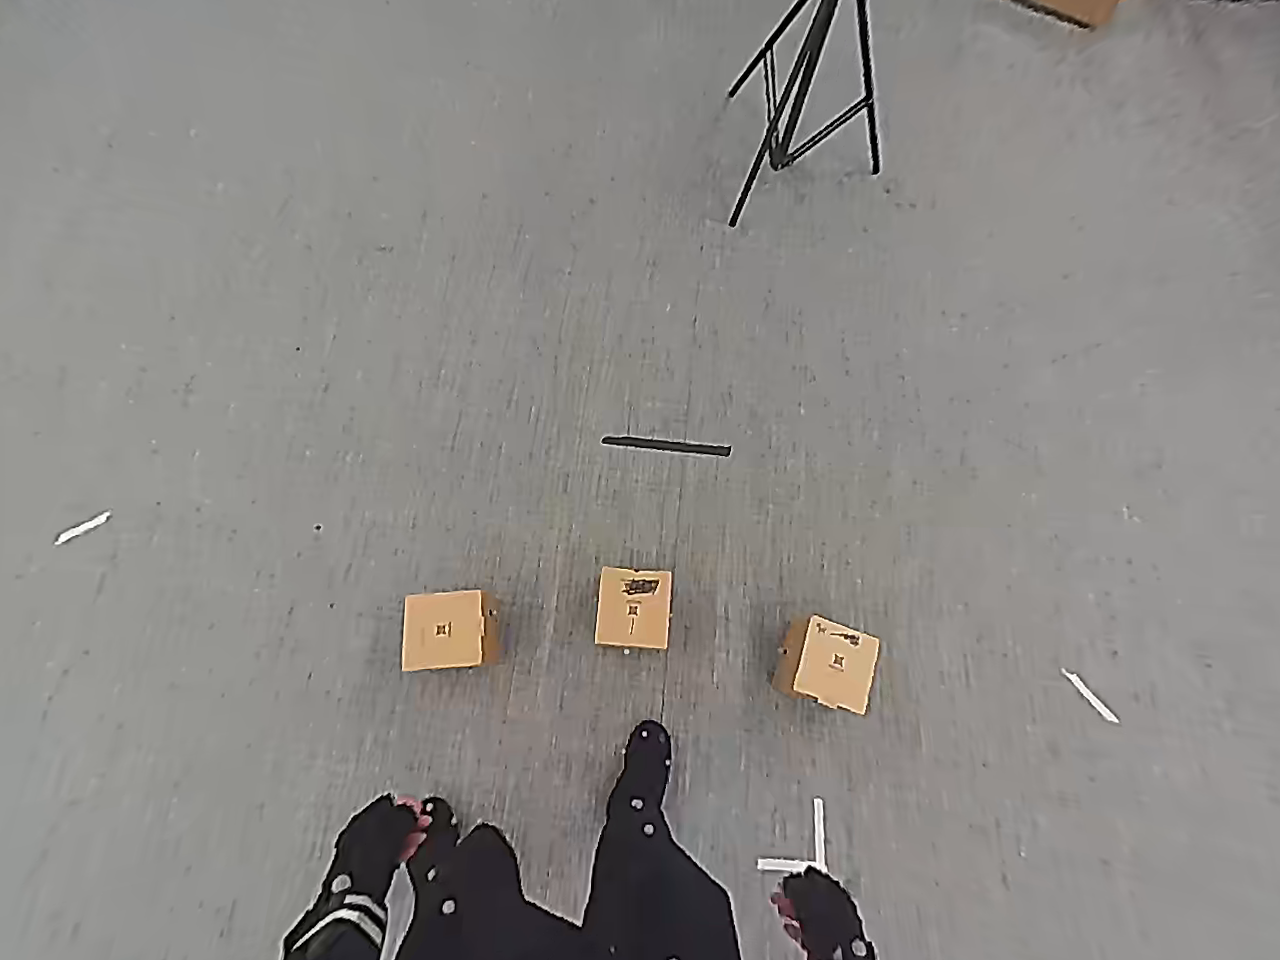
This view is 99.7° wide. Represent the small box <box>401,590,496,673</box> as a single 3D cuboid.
[{"bbox_3d":[-0.439,0.358,1.270,0.179,0.176,0.168,-5,70,-3],"label":"small box"}]

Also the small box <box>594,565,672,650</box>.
[{"bbox_3d":[-0.019,0.312,1.300,0.168,0.176,0.179,5,72,-1],"label":"small box"}]

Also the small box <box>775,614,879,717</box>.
[{"bbox_3d":[0.433,0.436,1.281,0.168,0.176,0.179,20,72,4],"label":"small box"}]
